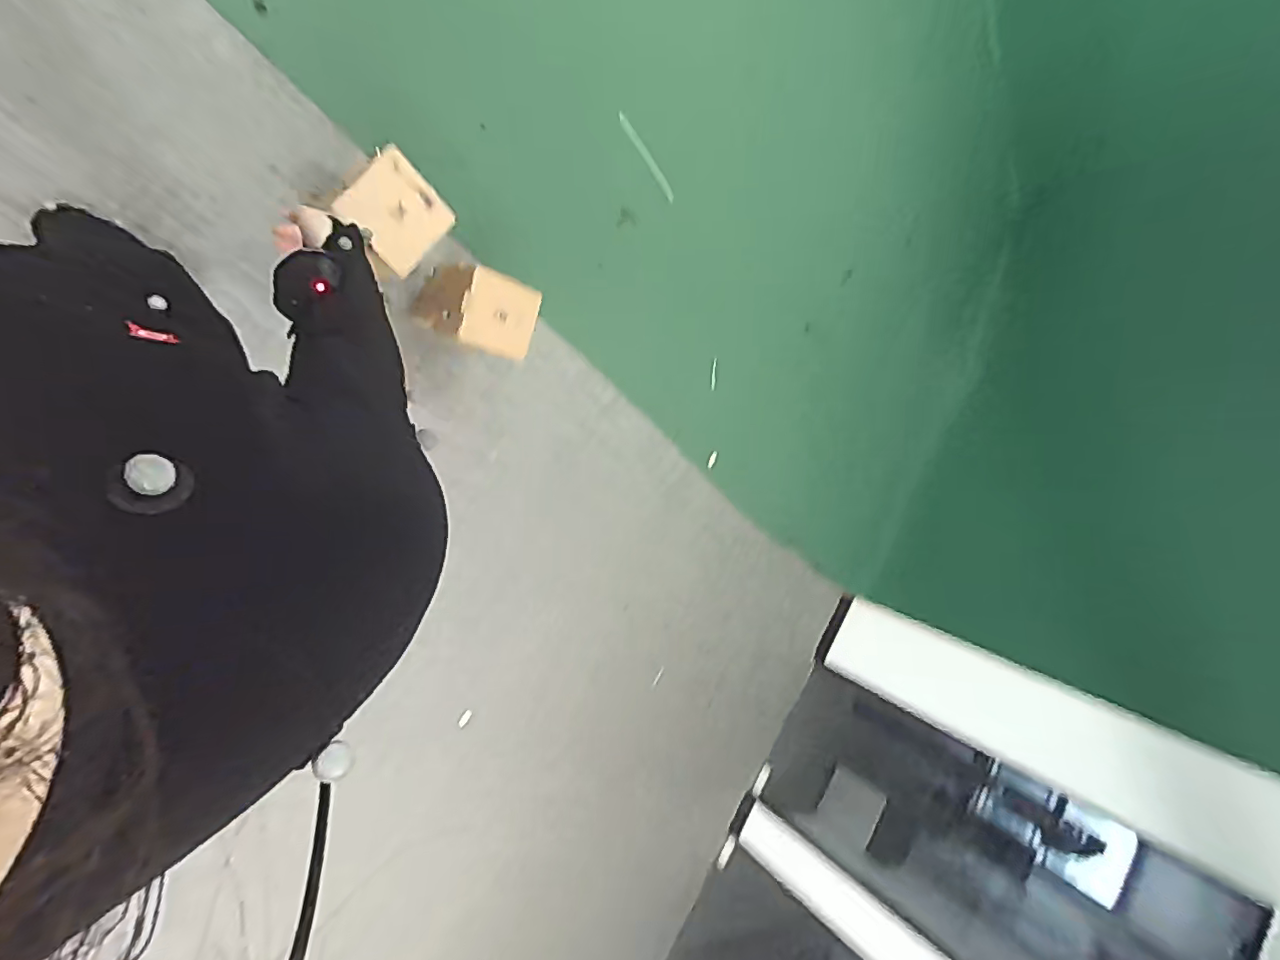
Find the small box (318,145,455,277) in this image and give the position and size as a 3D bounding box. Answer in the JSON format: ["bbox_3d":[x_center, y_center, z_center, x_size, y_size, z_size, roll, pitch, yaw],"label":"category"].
[{"bbox_3d":[-0.519,-0.532,1.096,0.179,0.176,0.168,-55,132,-13],"label":"small box"}]

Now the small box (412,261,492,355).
[{"bbox_3d":[-0.461,-0.445,1.408,0.179,0.176,0.168,29,86,-45],"label":"small box"}]

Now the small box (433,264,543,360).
[{"bbox_3d":[-0.366,-0.397,1.285,0.179,0.176,0.168,11,100,-45],"label":"small box"}]
